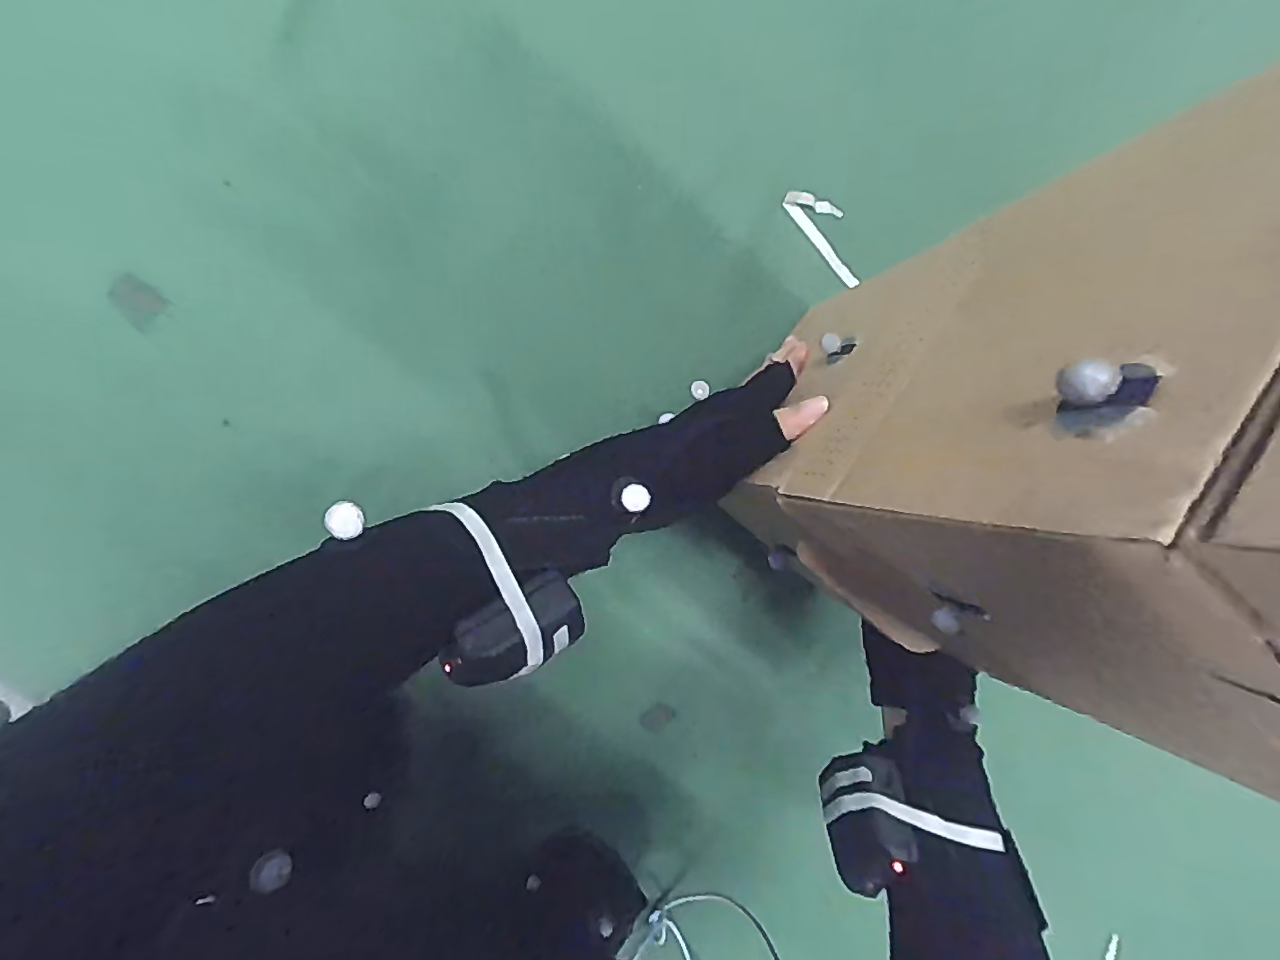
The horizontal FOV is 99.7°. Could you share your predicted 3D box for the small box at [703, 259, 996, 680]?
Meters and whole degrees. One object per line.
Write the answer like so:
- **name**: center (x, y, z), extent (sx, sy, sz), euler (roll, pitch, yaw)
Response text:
- **small box**: center (0.169, -0.009, 0.369), extent (0.168, 0.176, 0.179), euler (40, 85, -11)
